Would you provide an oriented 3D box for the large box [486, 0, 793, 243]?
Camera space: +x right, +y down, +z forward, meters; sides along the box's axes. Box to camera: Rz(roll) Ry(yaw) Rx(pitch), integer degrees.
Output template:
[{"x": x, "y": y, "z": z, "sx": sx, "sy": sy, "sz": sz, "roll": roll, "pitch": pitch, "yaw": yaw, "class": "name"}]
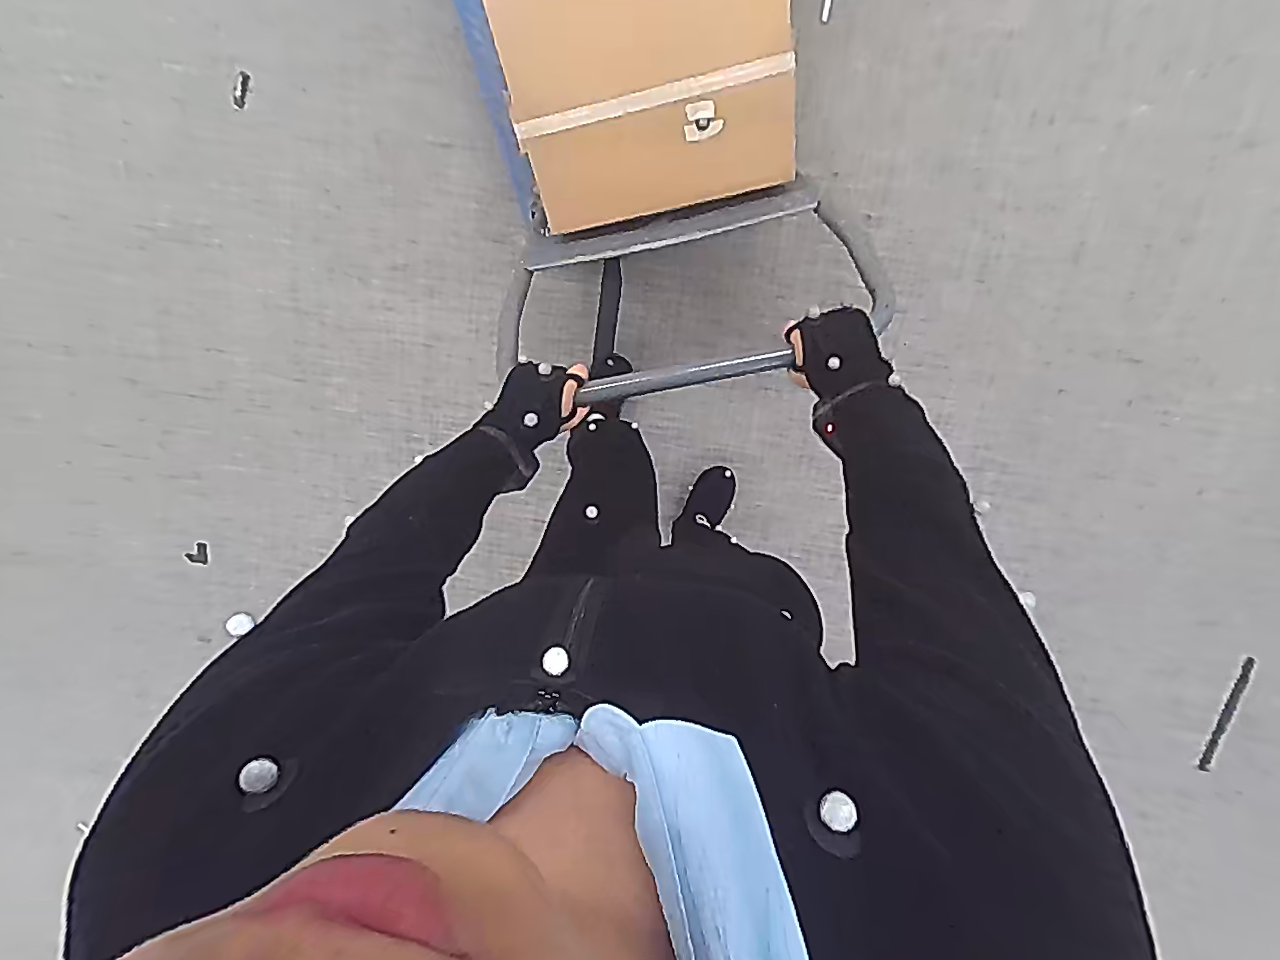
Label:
[{"x": 0.011, "y": -0.641, "z": 0.904, "sx": 0.408, "sy": 0.320, "sz": 0.320, "roll": -11, "pitch": 130, "yaw": 6, "class": "large box"}]
